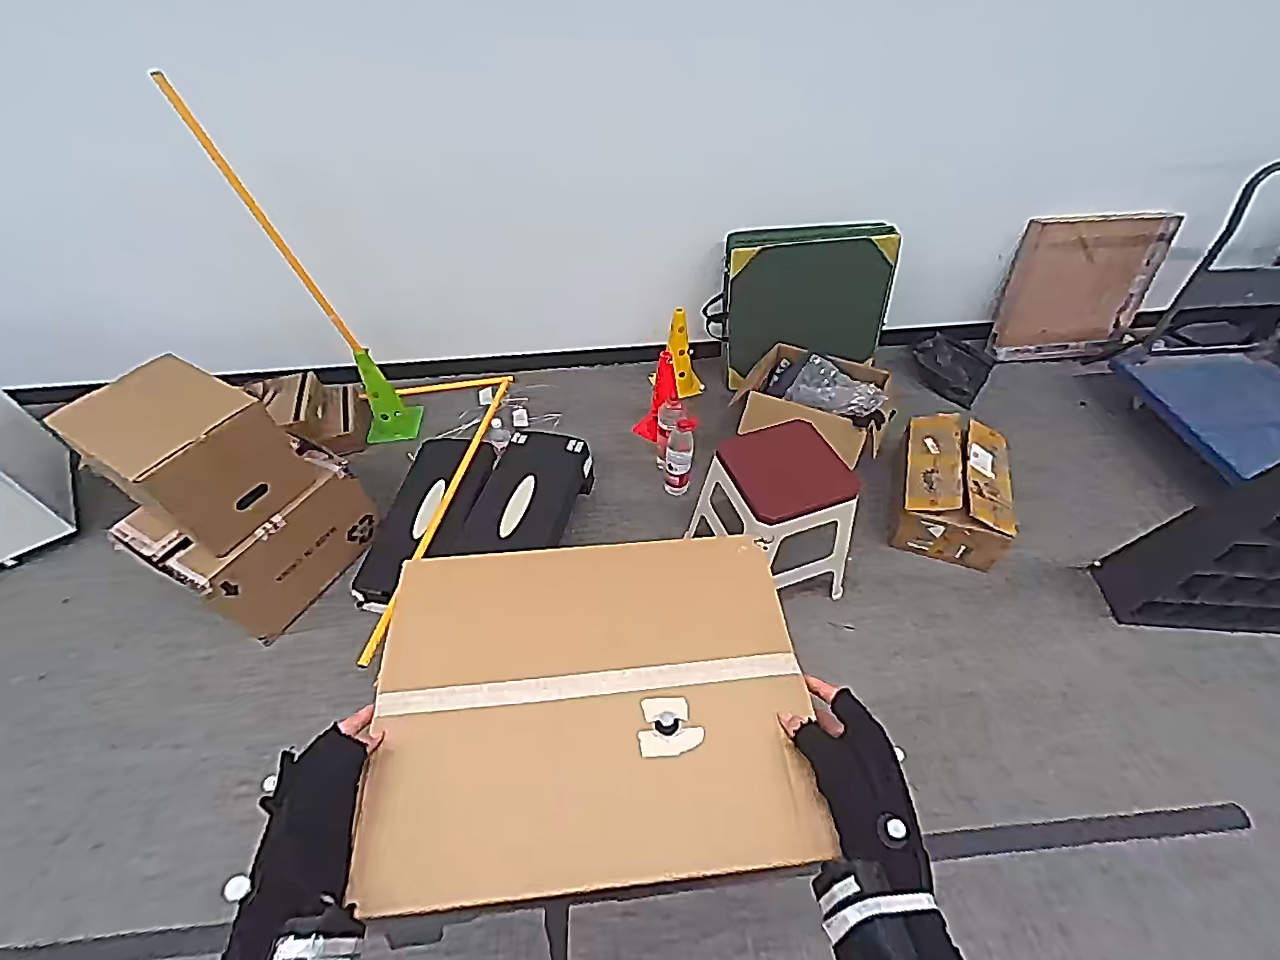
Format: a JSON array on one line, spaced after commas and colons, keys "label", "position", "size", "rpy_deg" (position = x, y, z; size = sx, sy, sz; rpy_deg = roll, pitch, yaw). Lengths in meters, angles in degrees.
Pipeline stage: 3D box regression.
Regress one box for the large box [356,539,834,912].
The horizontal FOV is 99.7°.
[{"label": "large box", "position": [-0.049, 0.296, 0.649], "size": [0.408, 0.320, 0.320], "rpy_deg": [-3, 51, -4]}]
